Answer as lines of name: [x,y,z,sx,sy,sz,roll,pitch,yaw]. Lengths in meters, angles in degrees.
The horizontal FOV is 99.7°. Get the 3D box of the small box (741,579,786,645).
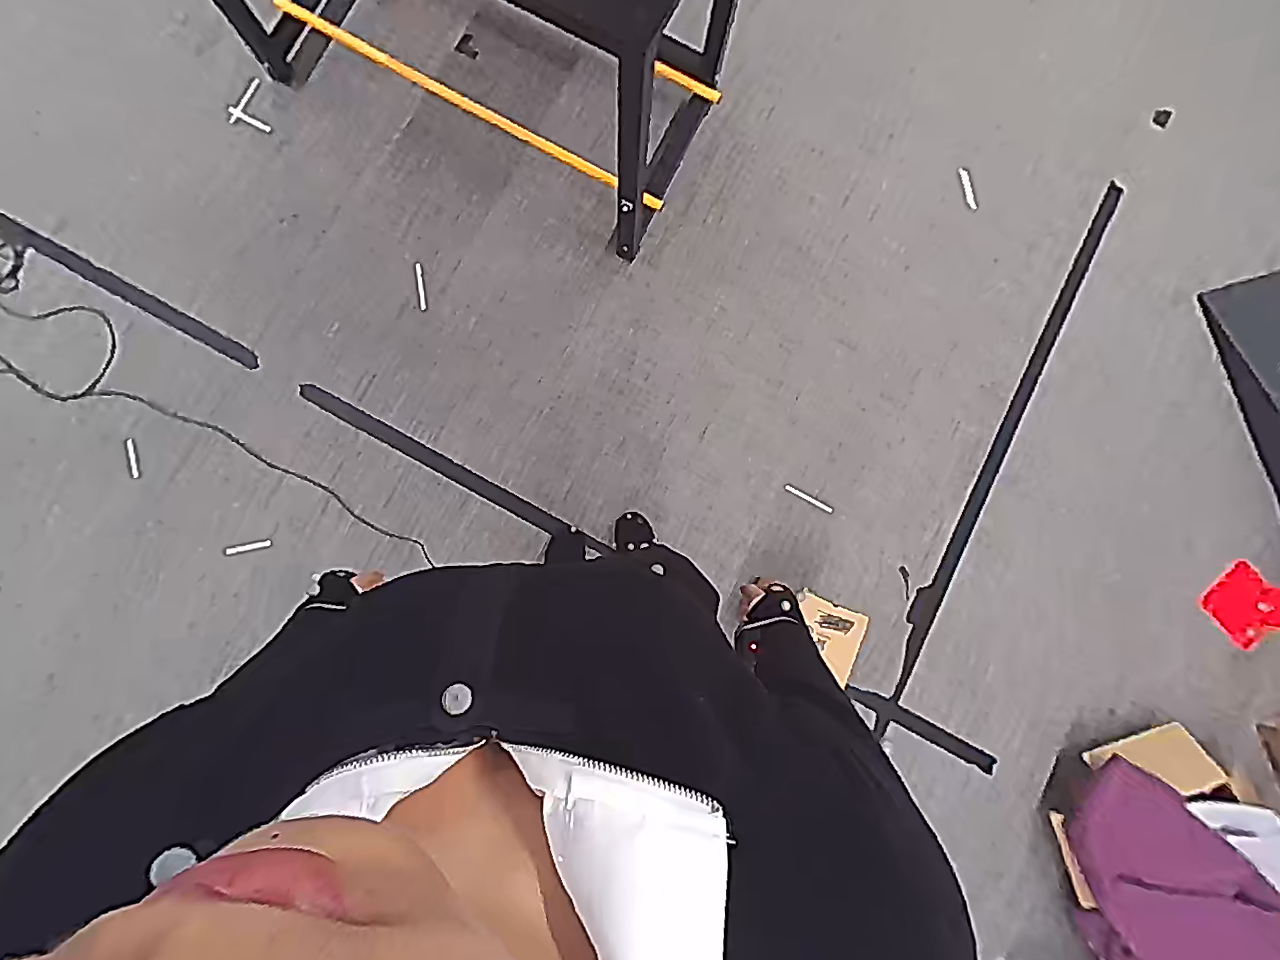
small box: [0.391,0.371,1.436,0.179,0.176,0.168,21,84,1]

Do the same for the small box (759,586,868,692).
small box: [0.398,0.363,1.271,0.168,0.176,0.179,23,85,0]
